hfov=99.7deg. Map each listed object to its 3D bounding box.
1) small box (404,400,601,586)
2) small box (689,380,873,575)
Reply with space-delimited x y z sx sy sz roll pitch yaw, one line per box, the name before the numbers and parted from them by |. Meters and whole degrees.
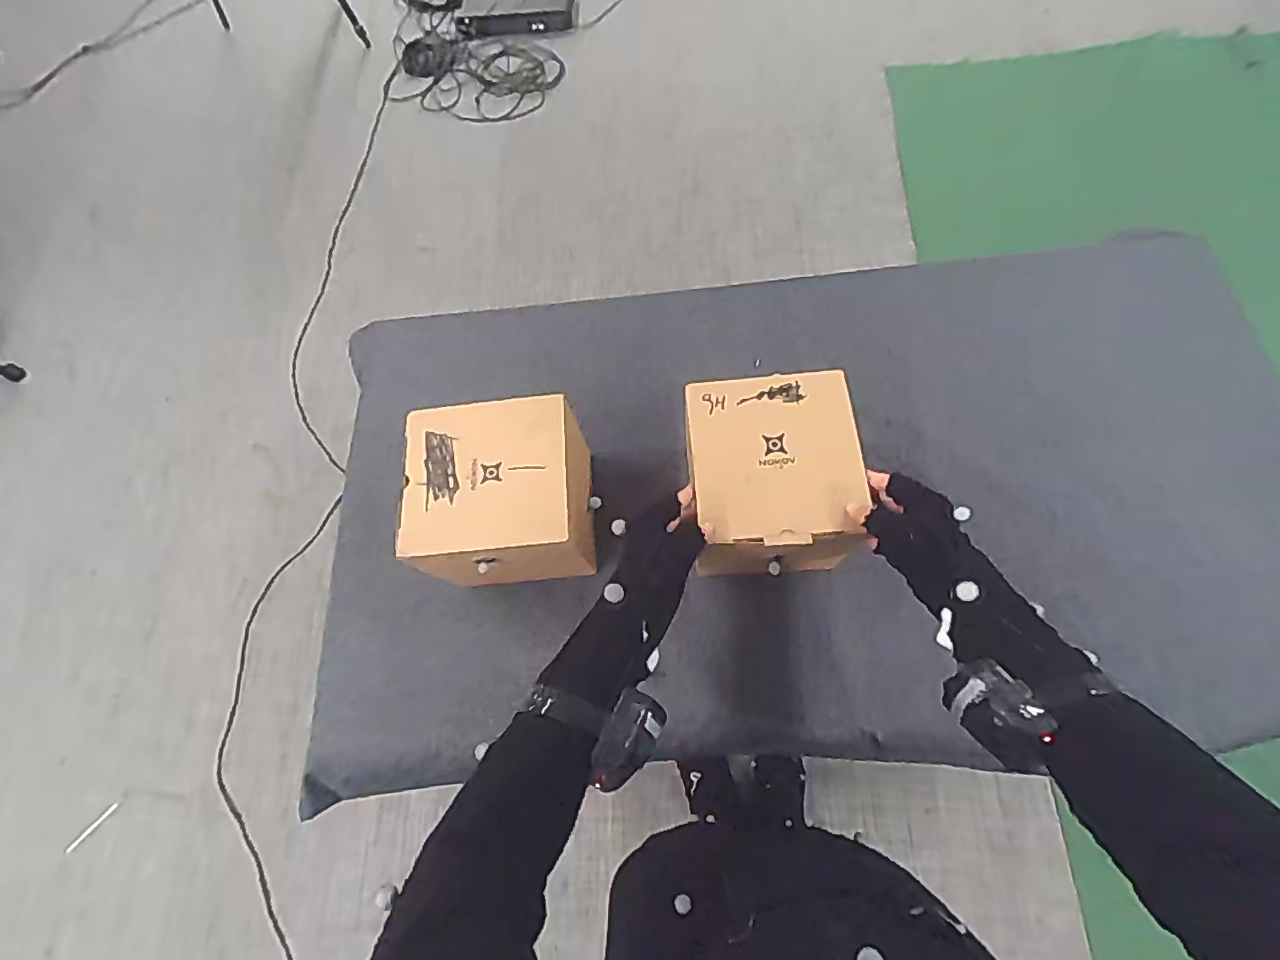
small box | -0.148 0.025 0.636 0.179 0.176 0.168 -5 69 3
small box | 0.144 0.009 0.614 0.168 0.176 0.179 -4 70 4
